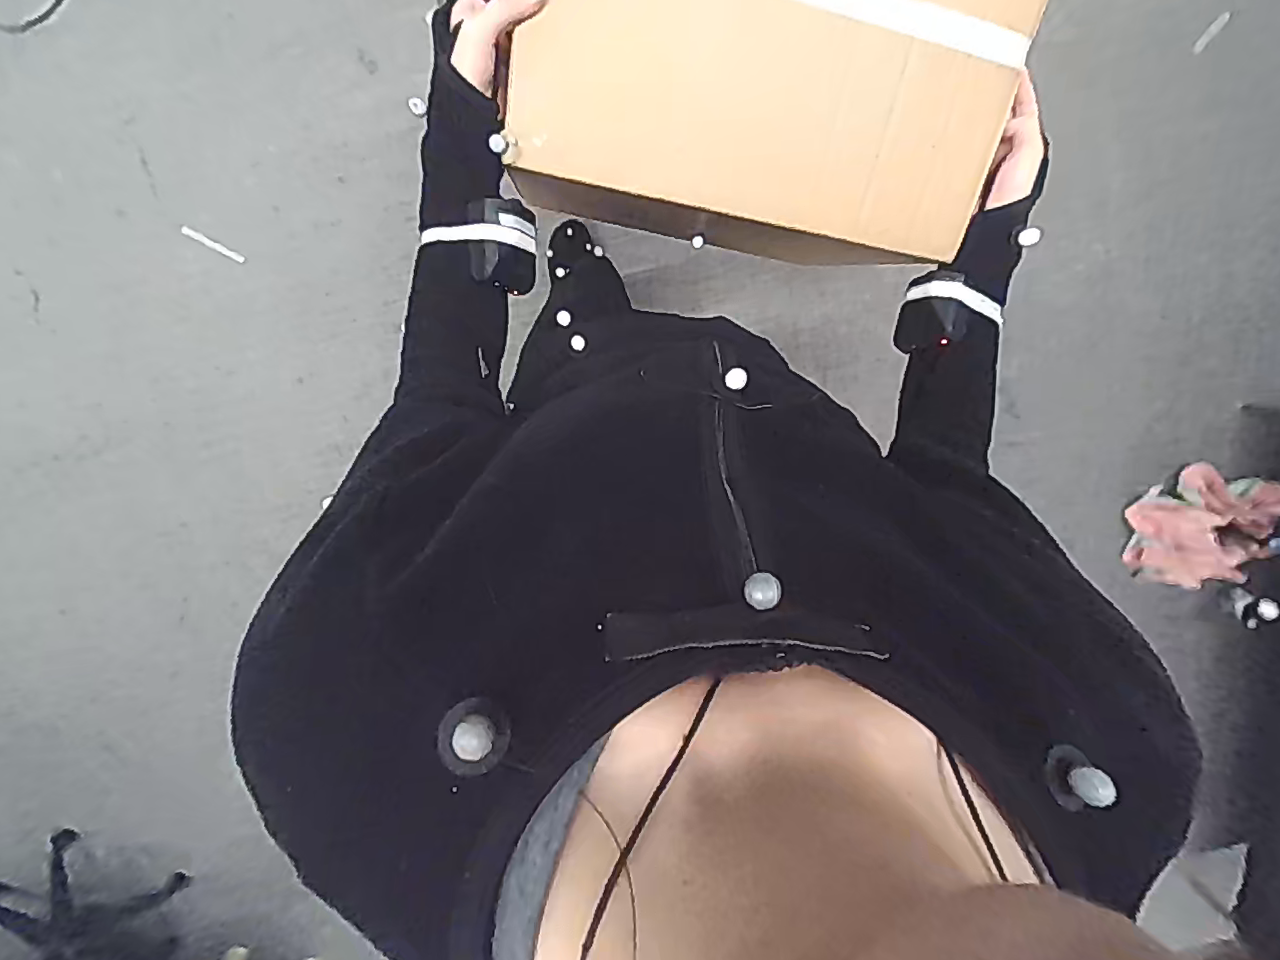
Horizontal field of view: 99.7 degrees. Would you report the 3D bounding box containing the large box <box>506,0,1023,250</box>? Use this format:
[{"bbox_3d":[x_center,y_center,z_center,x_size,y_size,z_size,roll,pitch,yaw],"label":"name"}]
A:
[{"bbox_3d":[0.093,-0.429,0.555,0.408,0.320,0.320,6,110,-9],"label":"large box"}]
